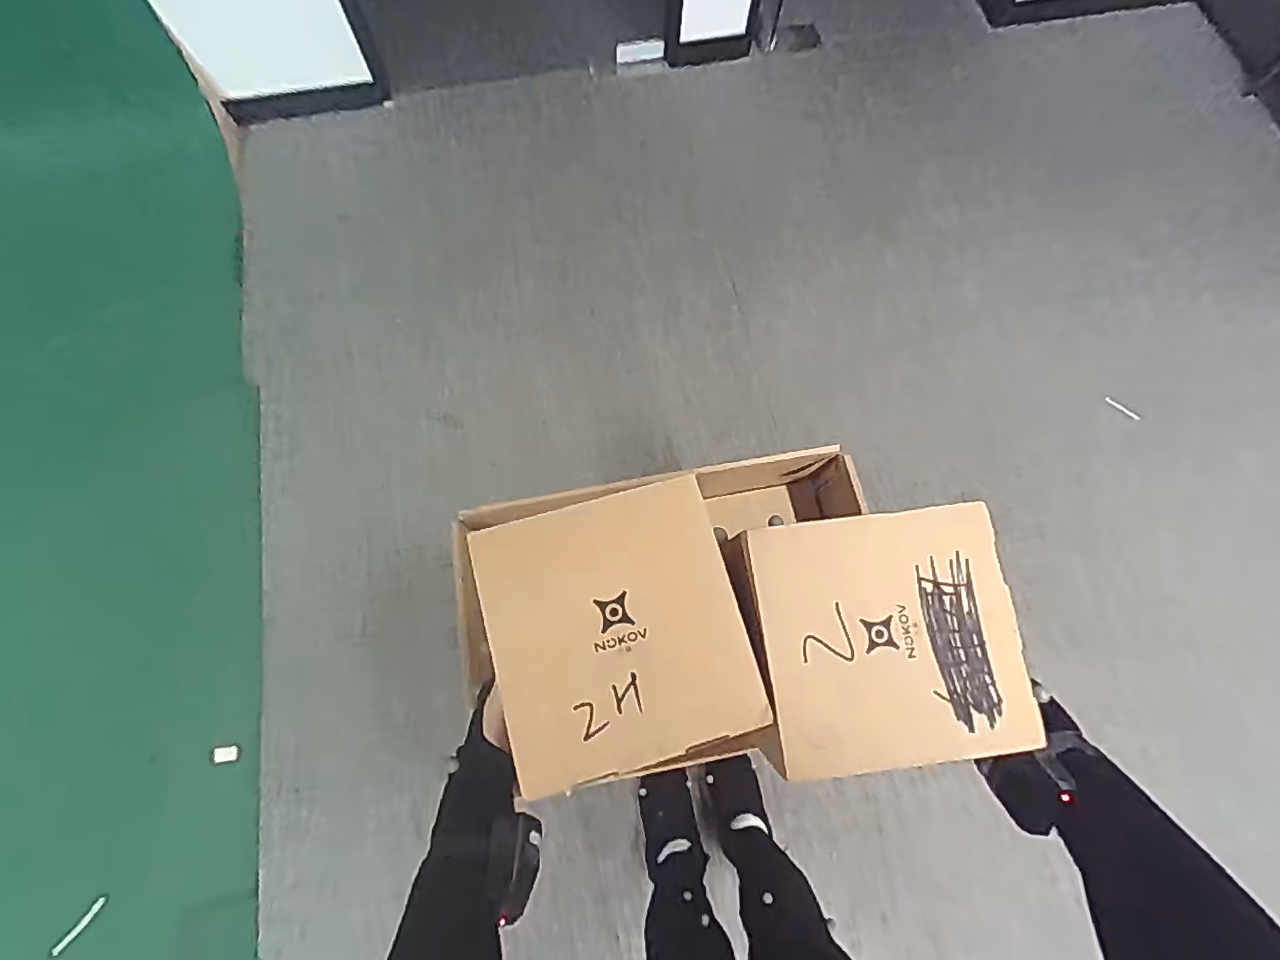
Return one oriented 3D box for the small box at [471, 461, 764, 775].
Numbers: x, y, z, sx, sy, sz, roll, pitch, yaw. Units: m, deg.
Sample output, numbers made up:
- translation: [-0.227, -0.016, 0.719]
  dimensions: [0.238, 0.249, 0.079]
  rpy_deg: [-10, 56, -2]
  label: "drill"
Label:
- translation: [-0.022, 0.106, 0.440]
  dimensions: [0.168, 0.176, 0.179]
  rpy_deg: [-15, 77, -5]
  label: "small box"
